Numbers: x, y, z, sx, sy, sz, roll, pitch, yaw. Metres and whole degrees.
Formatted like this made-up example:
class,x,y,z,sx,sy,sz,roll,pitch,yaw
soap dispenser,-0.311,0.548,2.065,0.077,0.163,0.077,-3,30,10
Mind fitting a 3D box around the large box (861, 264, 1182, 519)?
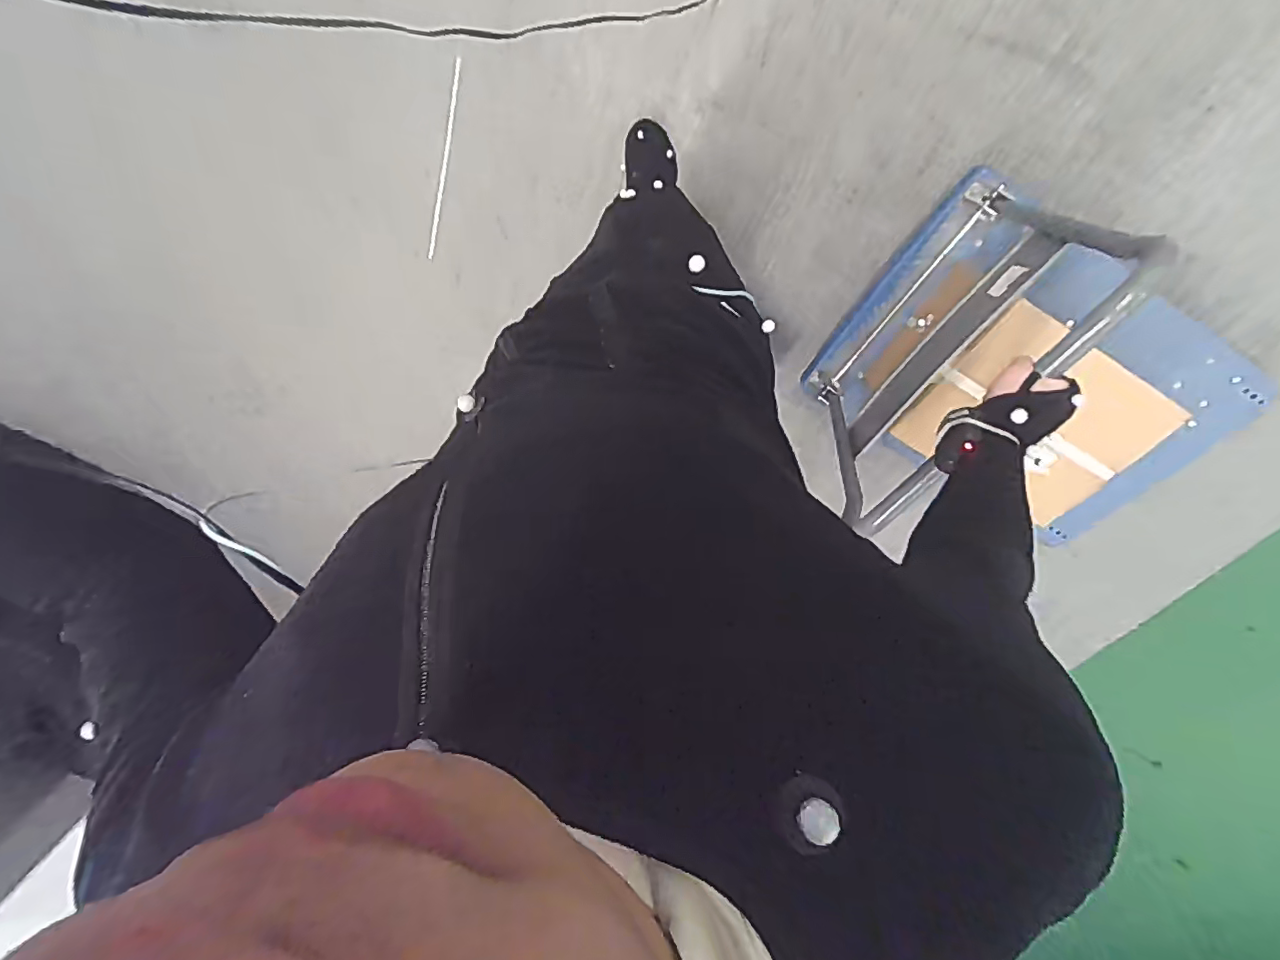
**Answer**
class,x,y,z,sx,sy,sz,roll,pitch,yaw
large box,0.754,-0.194,1.145,0.408,0.320,0.320,29,124,-9
